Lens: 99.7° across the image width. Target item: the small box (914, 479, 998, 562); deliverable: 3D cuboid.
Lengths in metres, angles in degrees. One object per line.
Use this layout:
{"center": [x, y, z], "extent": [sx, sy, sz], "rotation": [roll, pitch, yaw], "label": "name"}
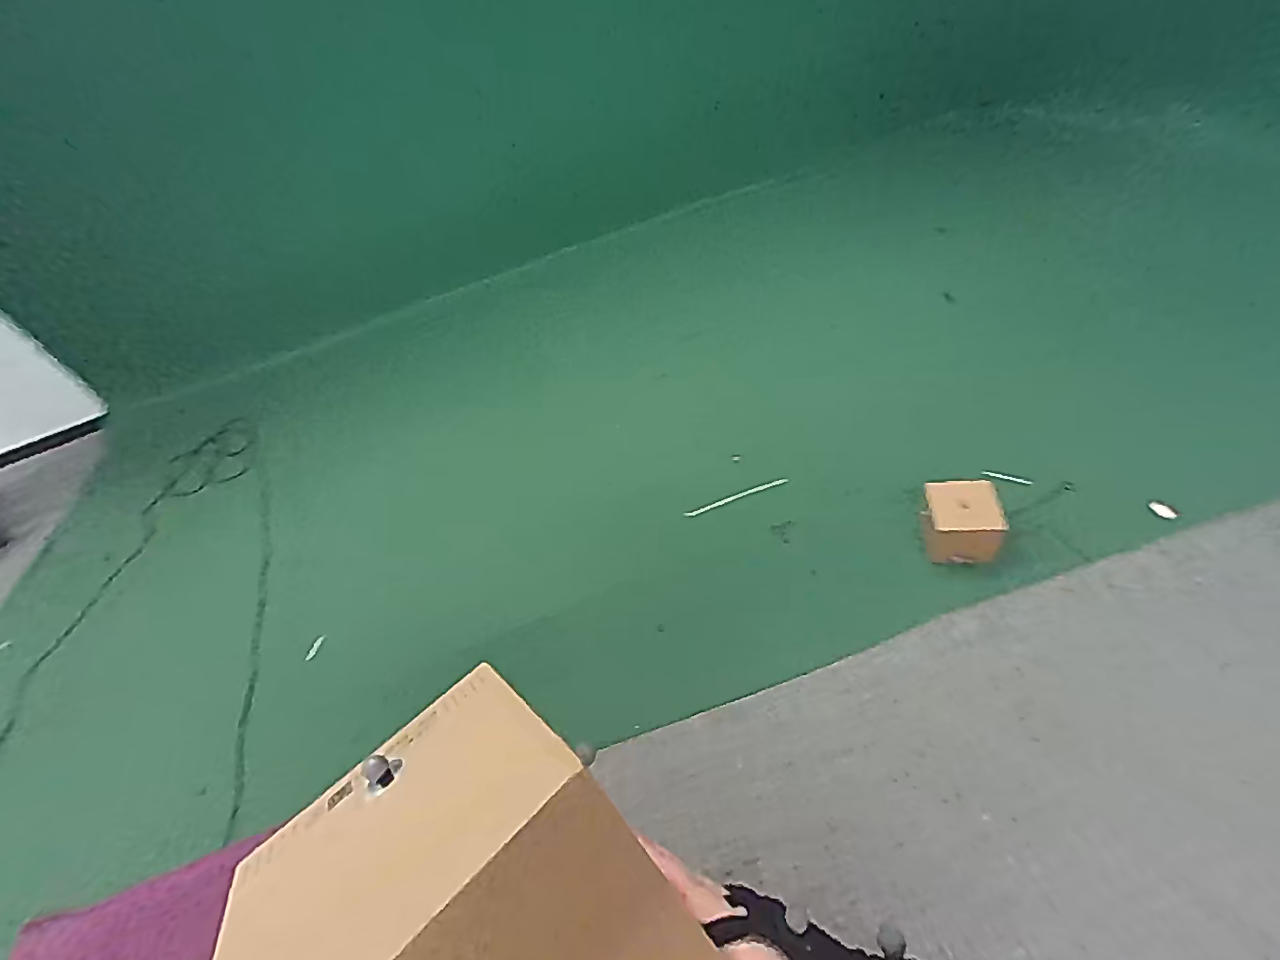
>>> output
{"center": [0.906, 0.118, 1.570], "extent": [0.168, 0.176, 0.179], "rotation": [-3, 48, 16], "label": "small box"}
